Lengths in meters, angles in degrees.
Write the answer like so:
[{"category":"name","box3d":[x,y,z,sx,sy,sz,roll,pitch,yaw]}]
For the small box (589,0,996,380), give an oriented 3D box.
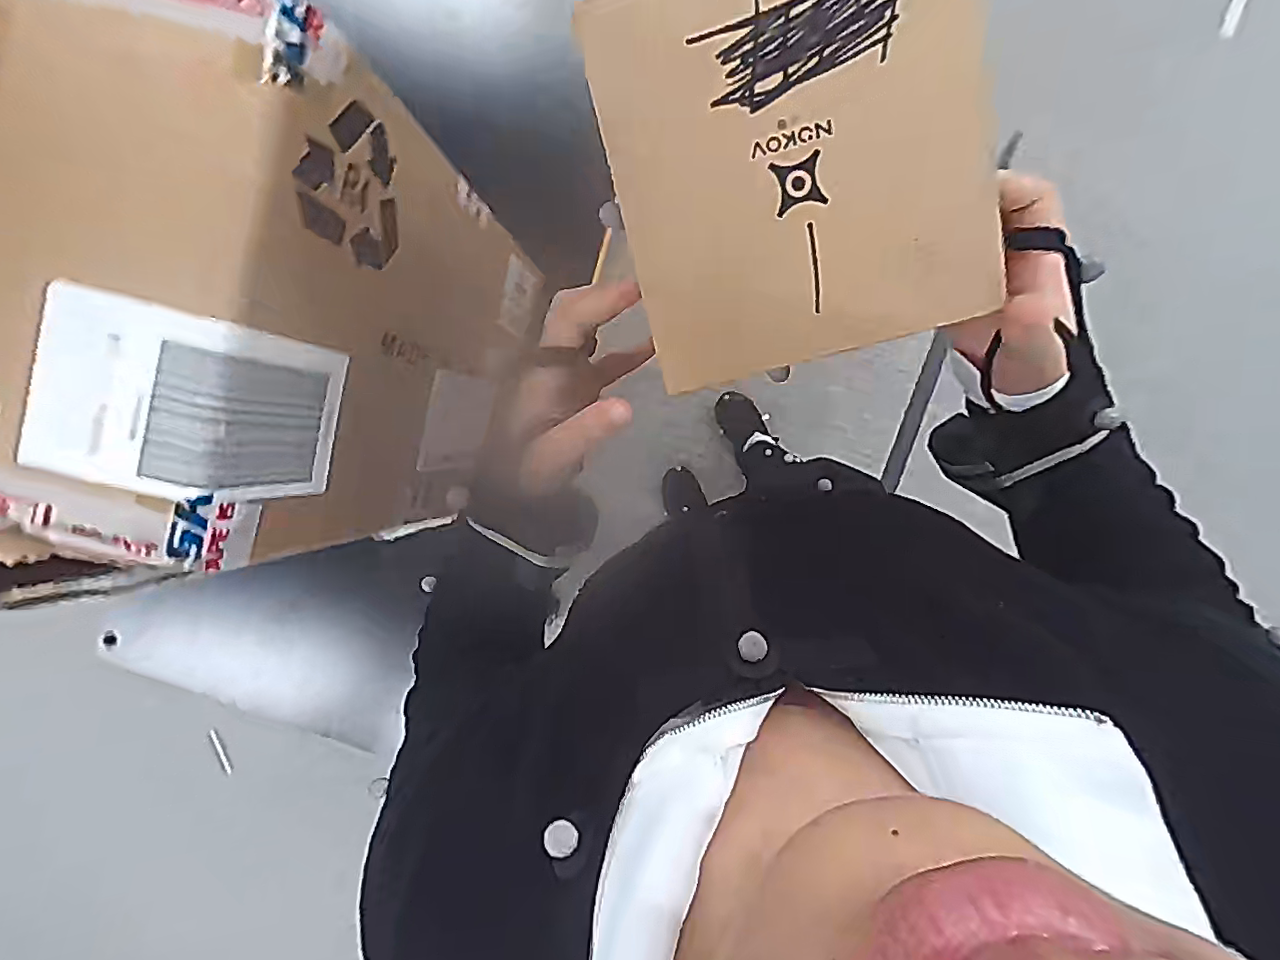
[{"category":"small box","box3d":[0.076,-0.162,0.327,0.168,0.176,0.179,-12,100,6]}]
